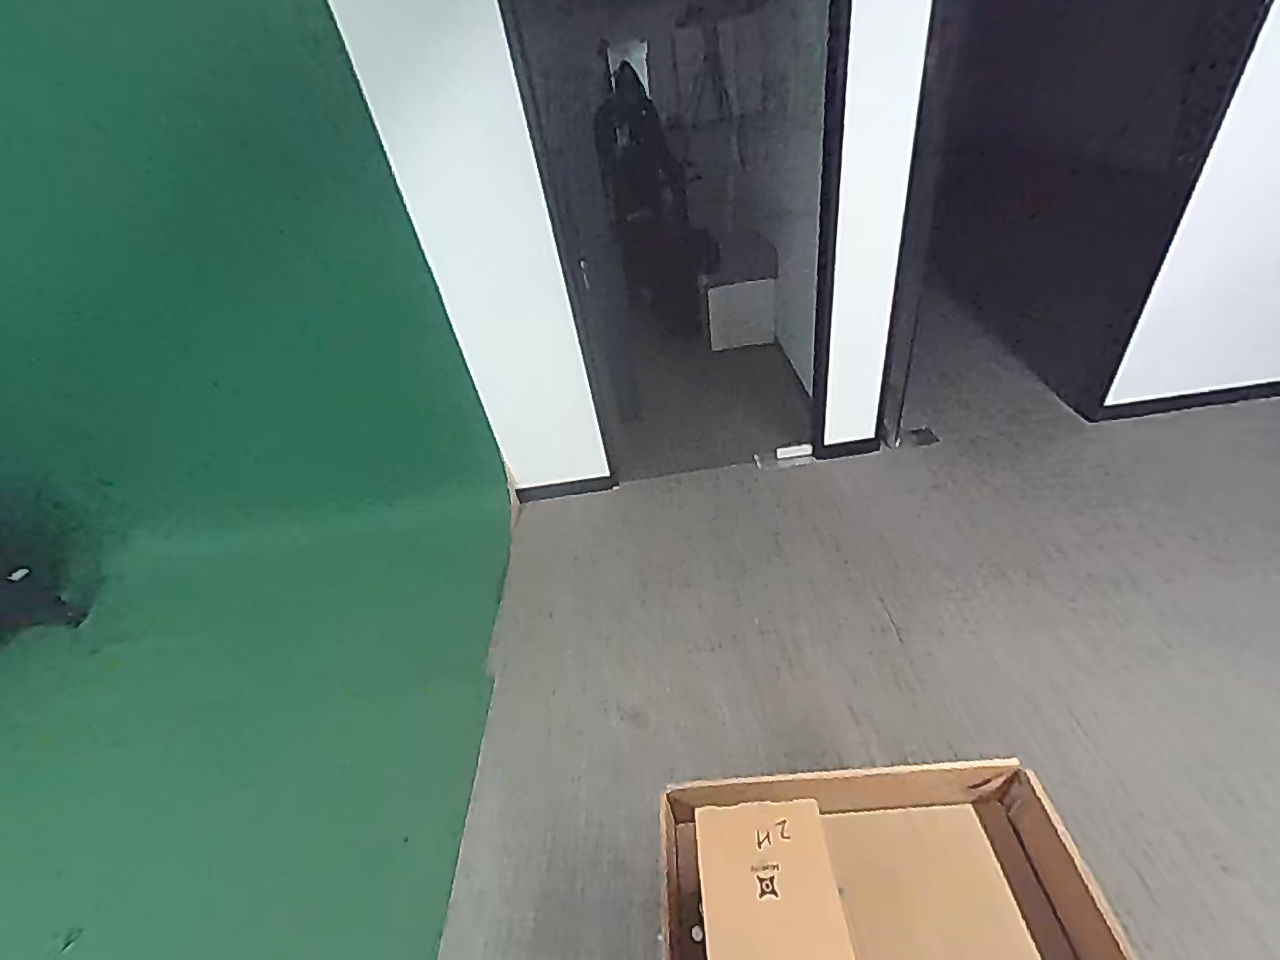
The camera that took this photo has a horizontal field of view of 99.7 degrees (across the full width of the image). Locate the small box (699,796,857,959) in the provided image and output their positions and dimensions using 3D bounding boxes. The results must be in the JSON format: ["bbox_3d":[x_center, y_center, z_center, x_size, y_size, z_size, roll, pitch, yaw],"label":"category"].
[{"bbox_3d":[0.172,0.544,0.705,0.168,0.176,0.179,-8,37,6],"label":"small box"}]
